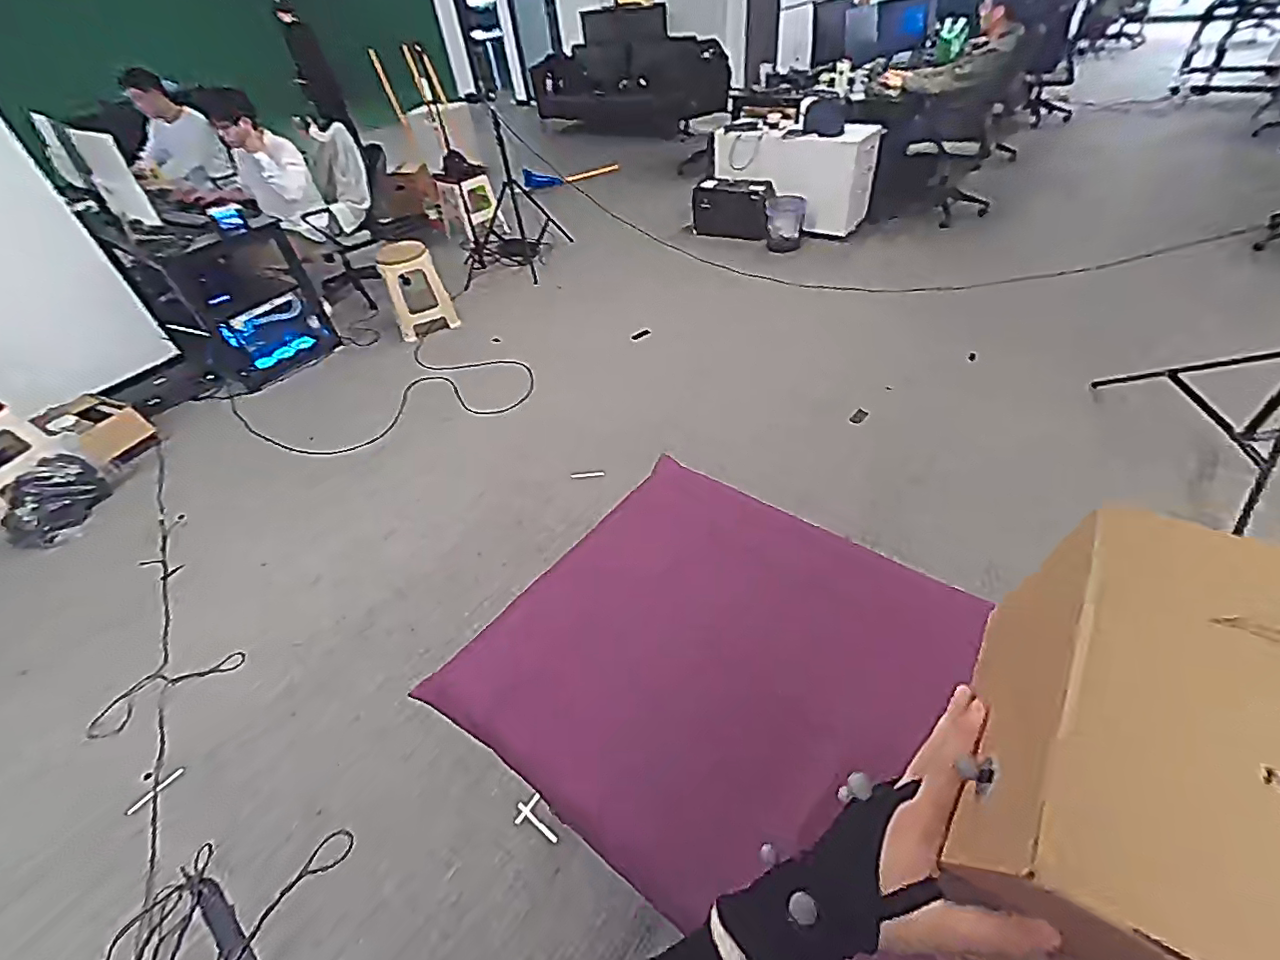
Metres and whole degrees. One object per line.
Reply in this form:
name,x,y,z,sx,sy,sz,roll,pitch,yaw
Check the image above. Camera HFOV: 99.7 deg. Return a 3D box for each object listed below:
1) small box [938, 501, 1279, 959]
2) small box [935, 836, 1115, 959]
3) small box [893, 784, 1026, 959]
small box,0.267,0.145,0.264,0.168,0.176,0.179,20,63,23
small box,0.369,0.291,0.436,0.168,0.176,0.179,29,55,32
small box,0.379,0.410,0.549,0.168,0.176,0.179,29,54,32
